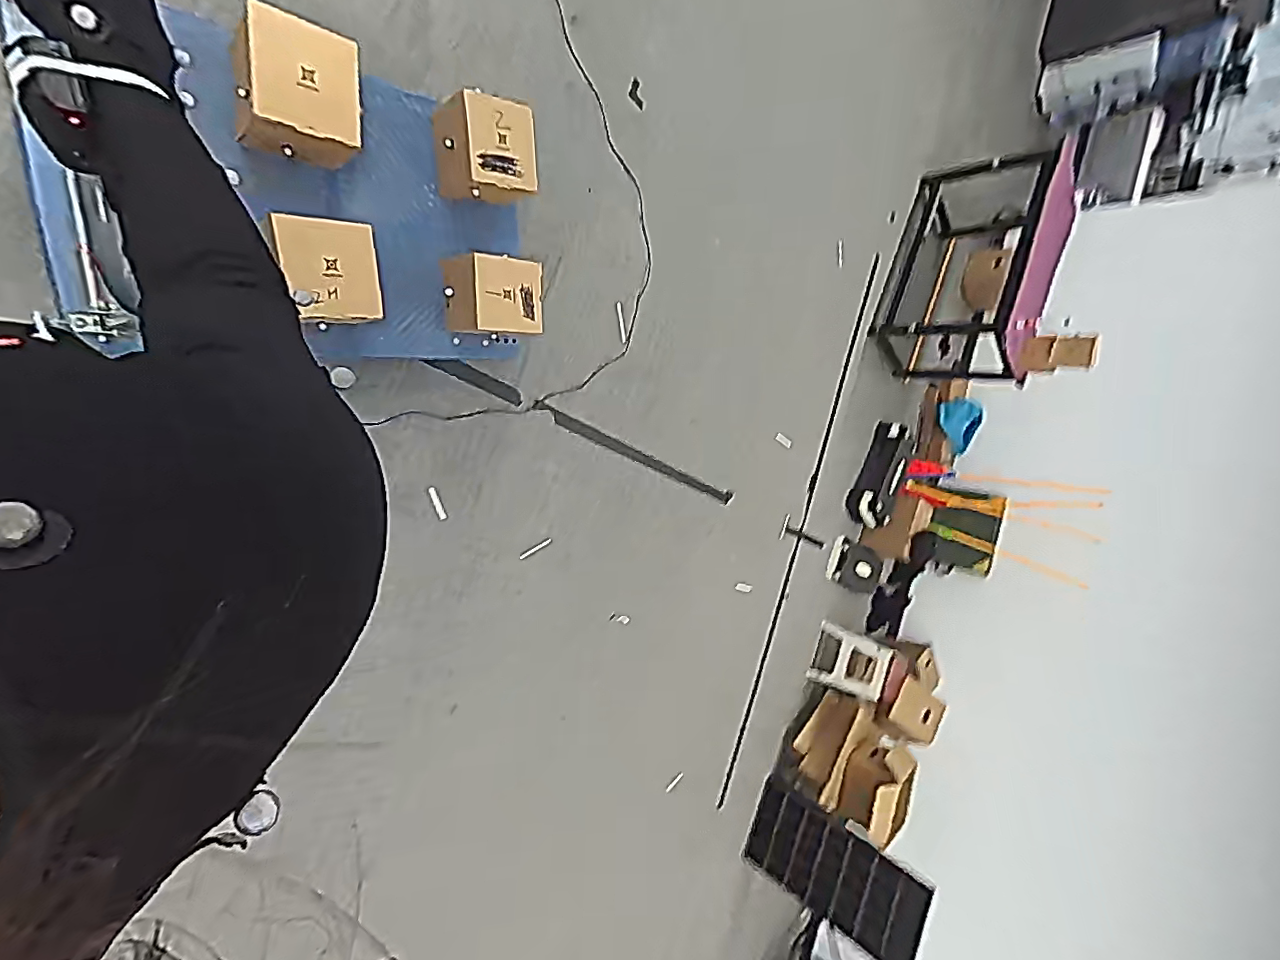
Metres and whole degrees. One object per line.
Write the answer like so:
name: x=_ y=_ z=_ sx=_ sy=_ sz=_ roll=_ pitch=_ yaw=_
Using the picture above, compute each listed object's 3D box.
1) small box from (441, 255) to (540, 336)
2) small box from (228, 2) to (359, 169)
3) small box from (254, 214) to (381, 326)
small box: x=-0.362 y=-0.439 z=1.312 sx=0.179 sy=0.176 sz=0.168 roll=-10 pitch=106 yaw=-42
small box: x=-0.632 y=-0.700 z=0.986 sx=0.168 sy=0.176 sz=0.179 roll=-8 pitch=106 yaw=-44
small box: x=-0.630 y=-0.397 z=1.054 sx=0.168 sy=0.176 sz=0.179 roll=-14 pitch=109 yaw=-42
